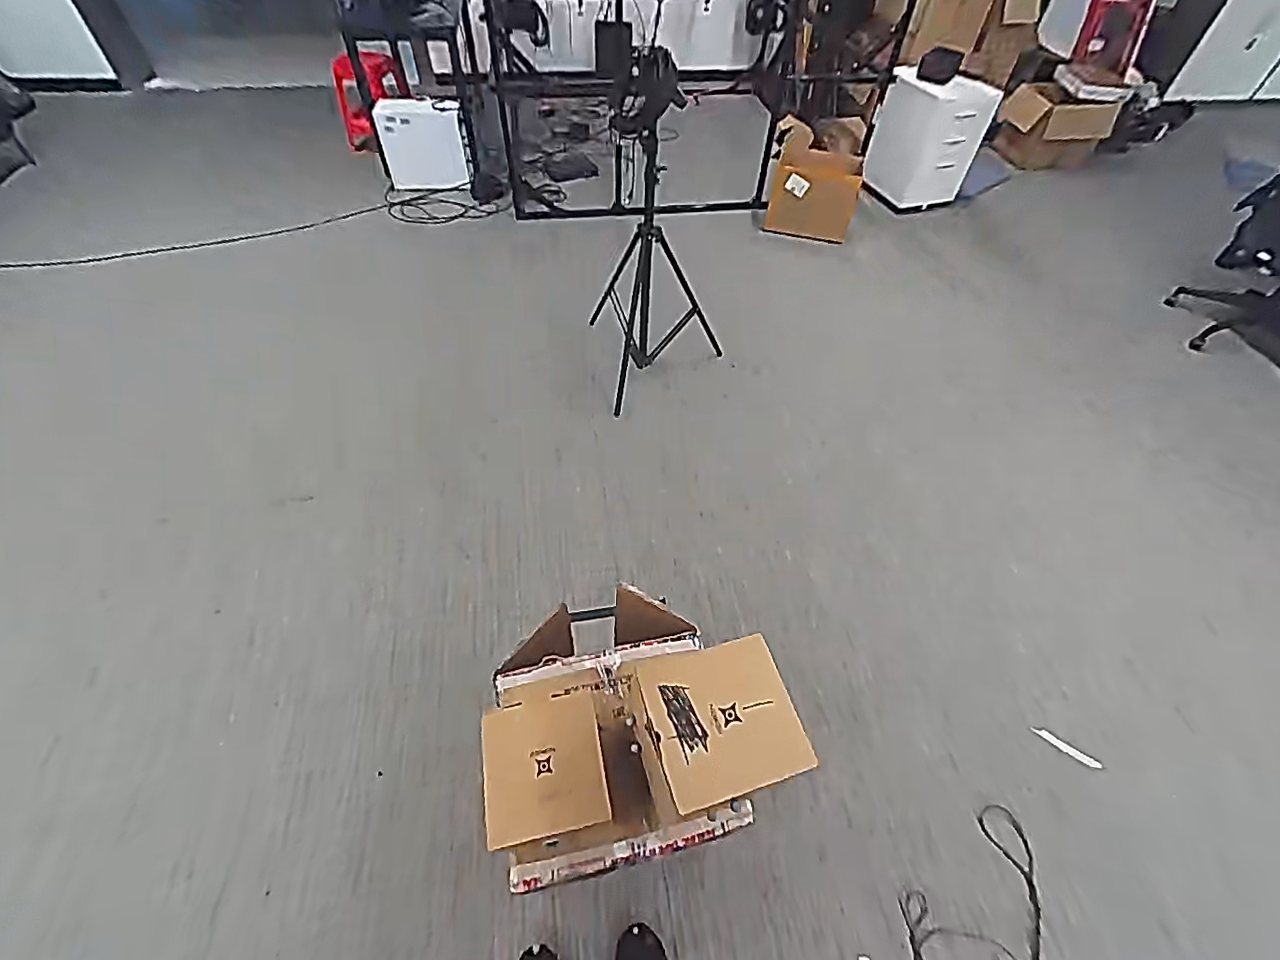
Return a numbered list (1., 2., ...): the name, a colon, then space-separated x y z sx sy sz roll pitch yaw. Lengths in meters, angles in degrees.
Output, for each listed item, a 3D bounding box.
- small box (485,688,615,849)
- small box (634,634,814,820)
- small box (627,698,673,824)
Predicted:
1. small box: -0.134 0.444 0.827 0.168 0.176 0.179 -11 57 -8
2. small box: 0.095 0.330 0.717 0.179 0.176 0.168 -12 56 -13
3. small box: 0.086 0.423 0.855 0.179 0.176 0.168 -12 56 -13
